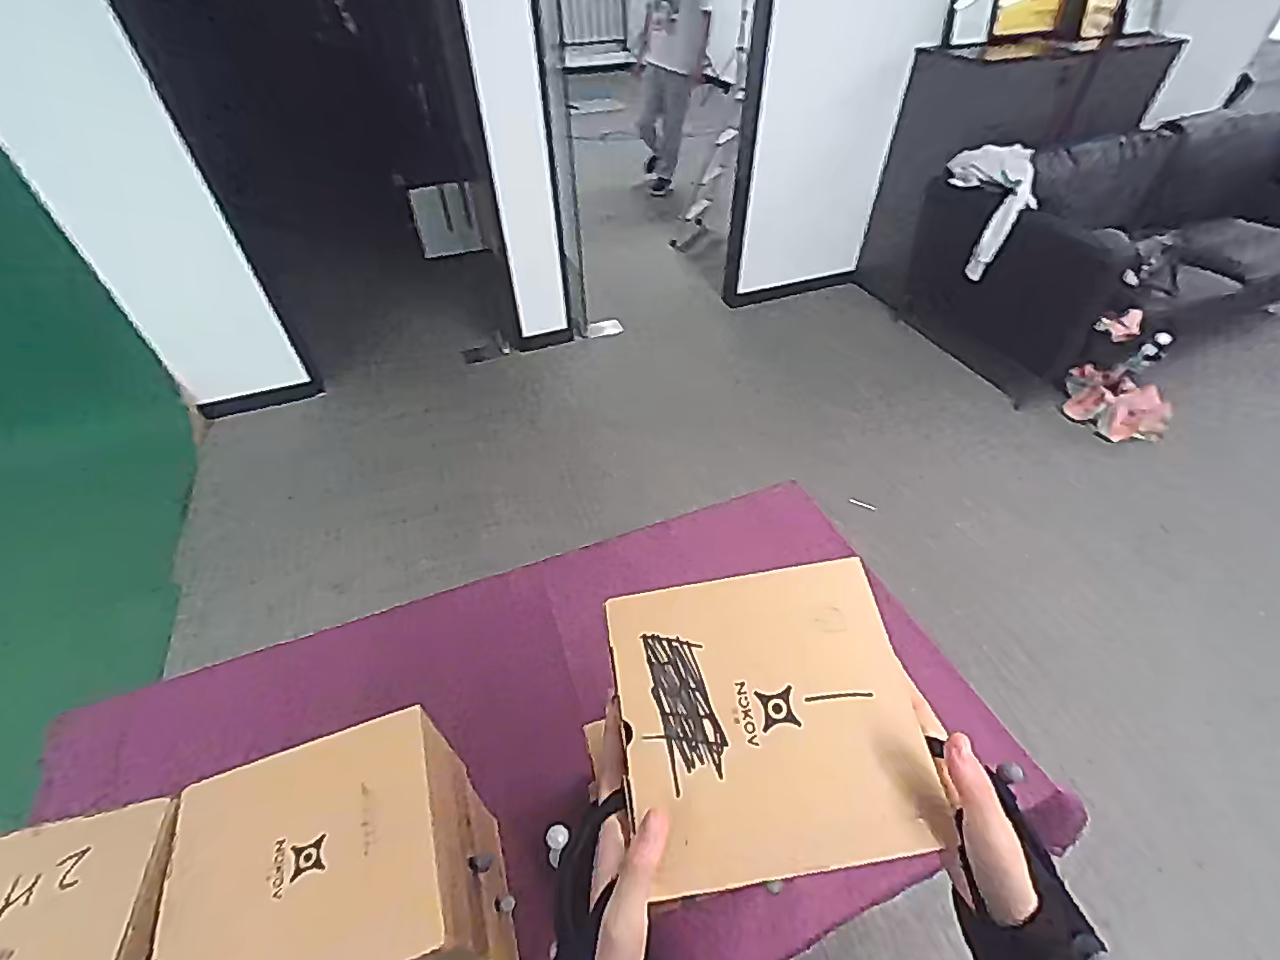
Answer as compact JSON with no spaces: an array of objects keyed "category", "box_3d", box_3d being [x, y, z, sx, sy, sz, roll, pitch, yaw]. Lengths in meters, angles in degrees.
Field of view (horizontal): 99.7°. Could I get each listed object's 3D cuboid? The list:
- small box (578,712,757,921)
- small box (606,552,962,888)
[{"category":"small box","box_3d":[0.036,0.363,0.605,0.179,0.176,0.168,-10,47,-10]},{"category":"small box","box_3d":[0.079,0.168,0.388,0.179,0.176,0.168,-9,62,-1]}]
